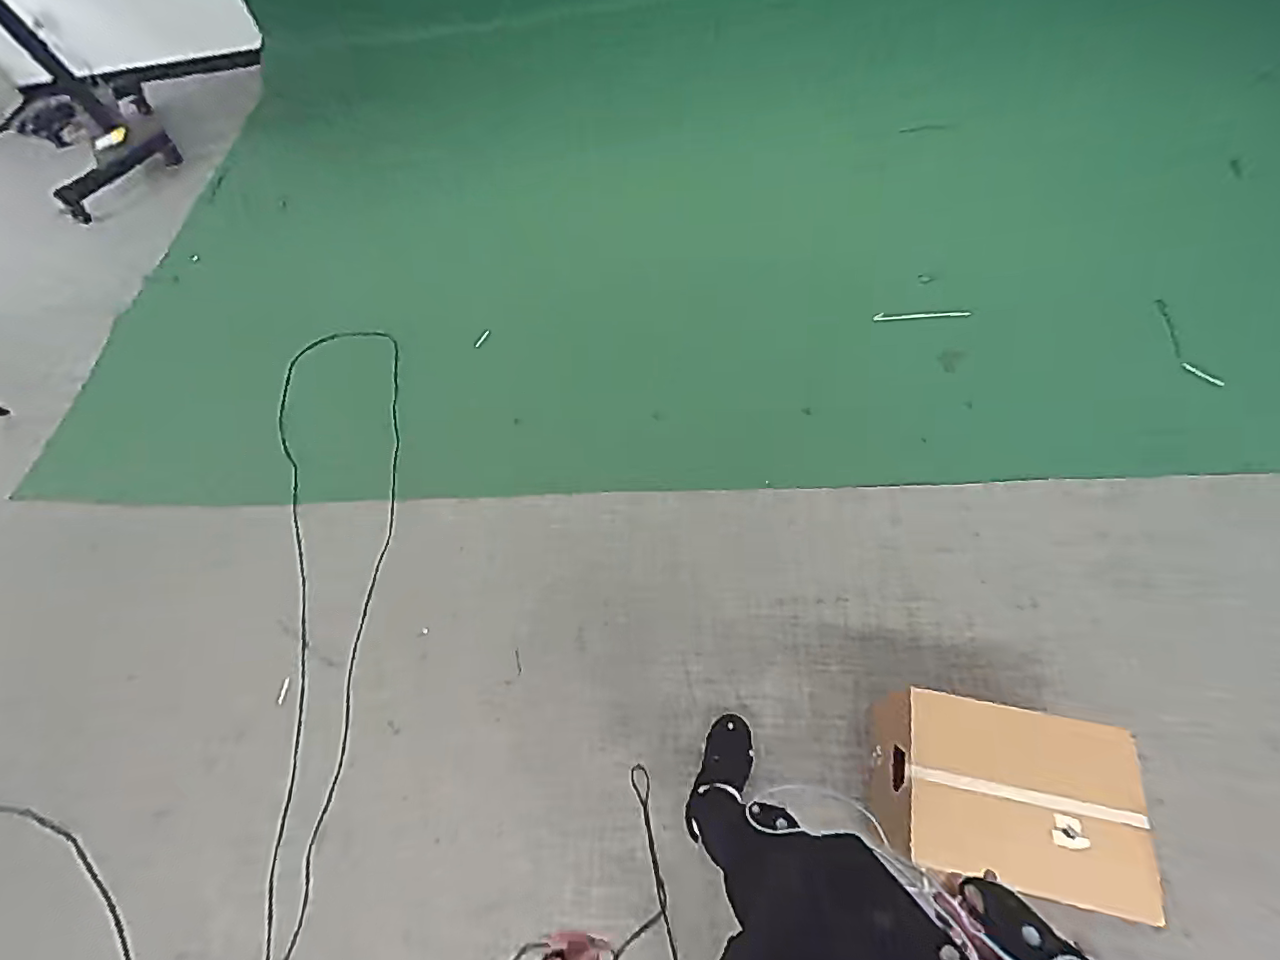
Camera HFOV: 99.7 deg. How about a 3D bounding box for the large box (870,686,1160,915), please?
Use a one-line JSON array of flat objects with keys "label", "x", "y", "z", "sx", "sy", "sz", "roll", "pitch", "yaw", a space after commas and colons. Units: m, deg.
[{"label": "large box", "x": 0.734, "y": 0.651, "z": 1.147, "sx": 0.408, "sy": 0.320, "sz": 0.320, "roll": 7, "pitch": 65, "yaw": 11}]
